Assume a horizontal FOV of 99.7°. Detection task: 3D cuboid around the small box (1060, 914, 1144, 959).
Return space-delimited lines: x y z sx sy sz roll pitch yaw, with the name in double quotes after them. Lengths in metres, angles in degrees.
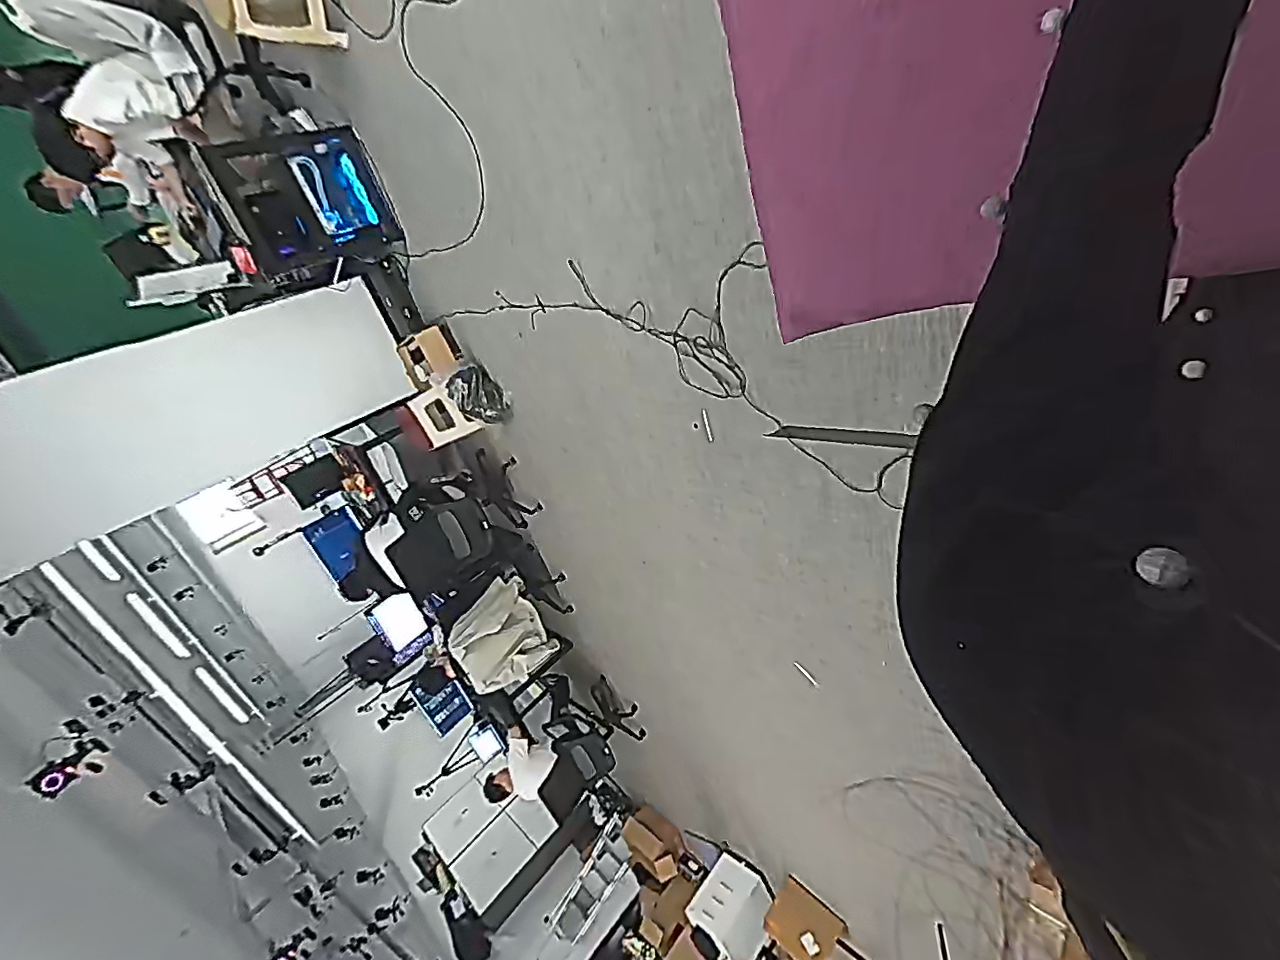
1.401 1.489 1.643 0.179 0.176 0.168 11 128 47 "small box"
